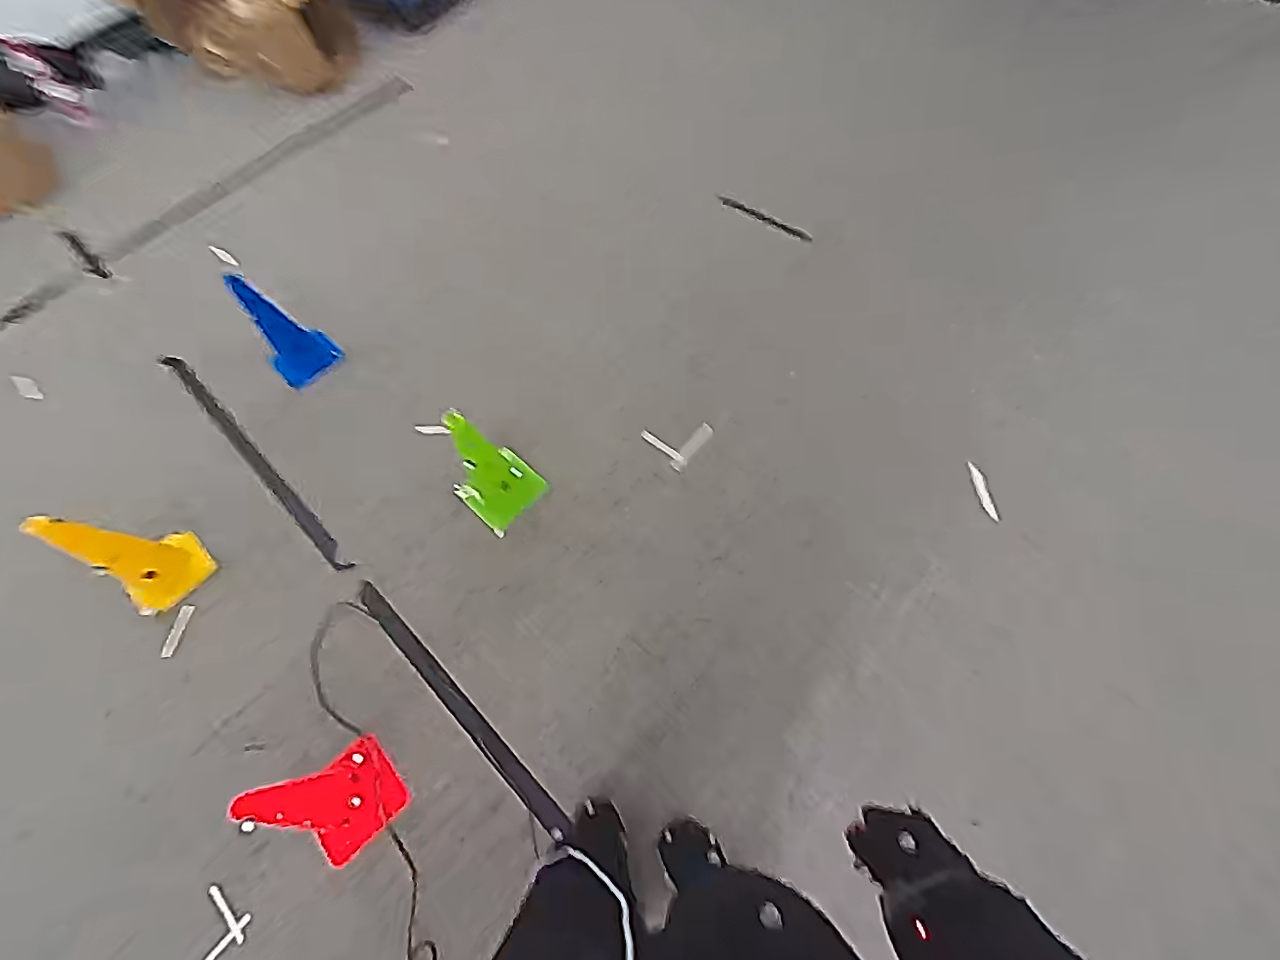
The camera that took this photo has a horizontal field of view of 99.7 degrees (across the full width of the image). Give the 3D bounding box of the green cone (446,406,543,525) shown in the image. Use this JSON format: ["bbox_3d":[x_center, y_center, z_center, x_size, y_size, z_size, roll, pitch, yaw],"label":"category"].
[{"bbox_3d":[-0.420,-0.068,1.409,0.200,0.368,0.202,38,71,22],"label":"green cone"}]

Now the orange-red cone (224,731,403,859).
[{"bbox_3d":[-0.674,0.629,1.074,0.199,0.360,0.198,-41,65,-14],"label":"orange-red cone"}]

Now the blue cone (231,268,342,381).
[{"bbox_3d":[-1.162,-0.510,1.725,0.192,0.380,0.193,-41,67,-16],"label":"blue cone"}]
